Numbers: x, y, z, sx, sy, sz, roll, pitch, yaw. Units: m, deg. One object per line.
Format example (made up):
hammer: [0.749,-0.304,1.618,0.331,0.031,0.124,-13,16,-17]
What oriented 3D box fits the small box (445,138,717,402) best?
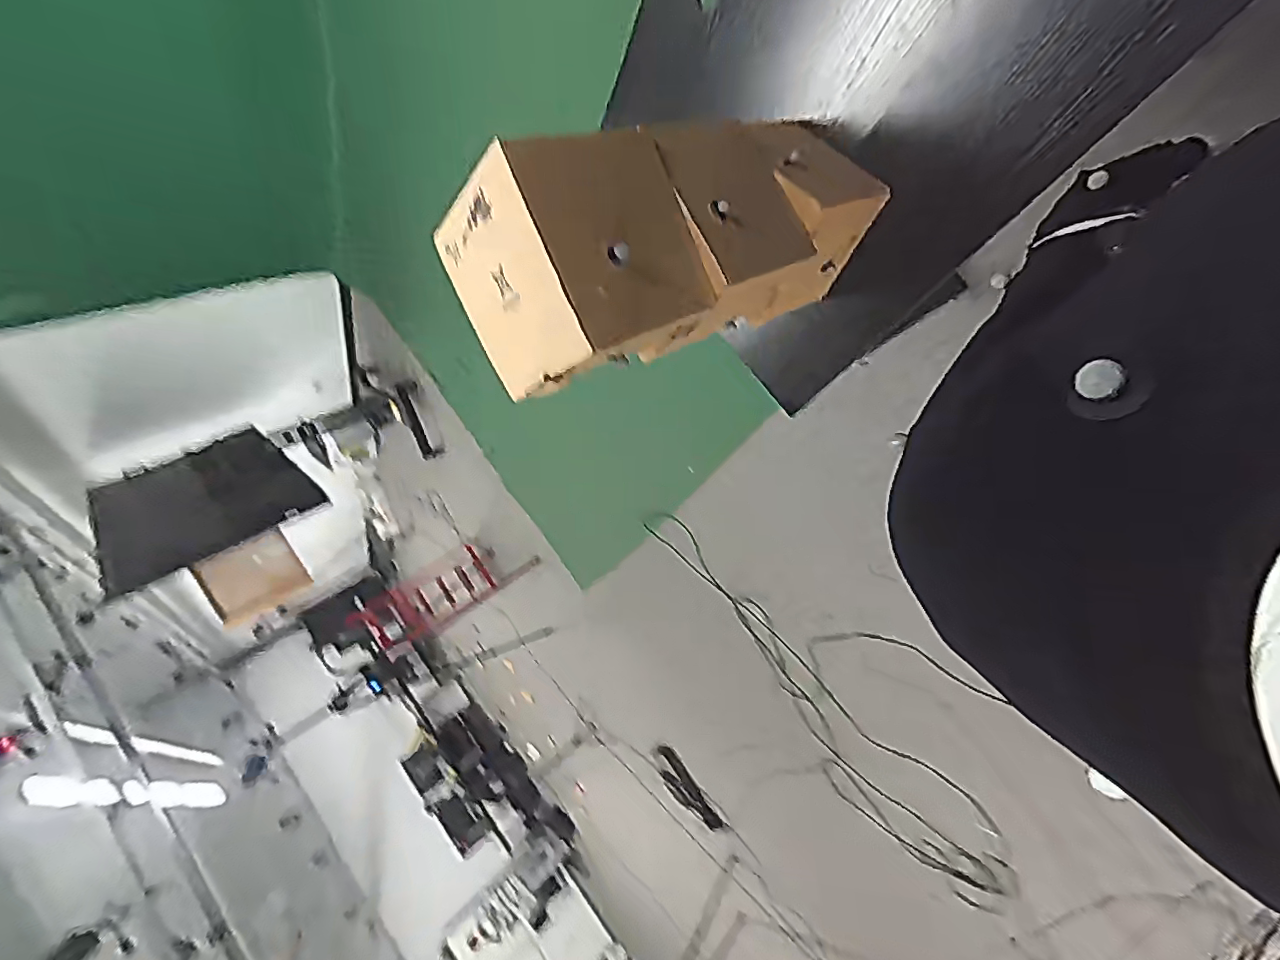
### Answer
small box: [-0.054,-0.203,0.534,0.168,0.176,0.179,-12,107,52]

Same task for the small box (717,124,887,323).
small box: [0.181,-0.342,0.716,0.179,0.176,0.168,46,143,16]

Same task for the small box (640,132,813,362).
small box: [0.066,-0.270,0.626,0.179,0.176,0.168,59,144,-1]
